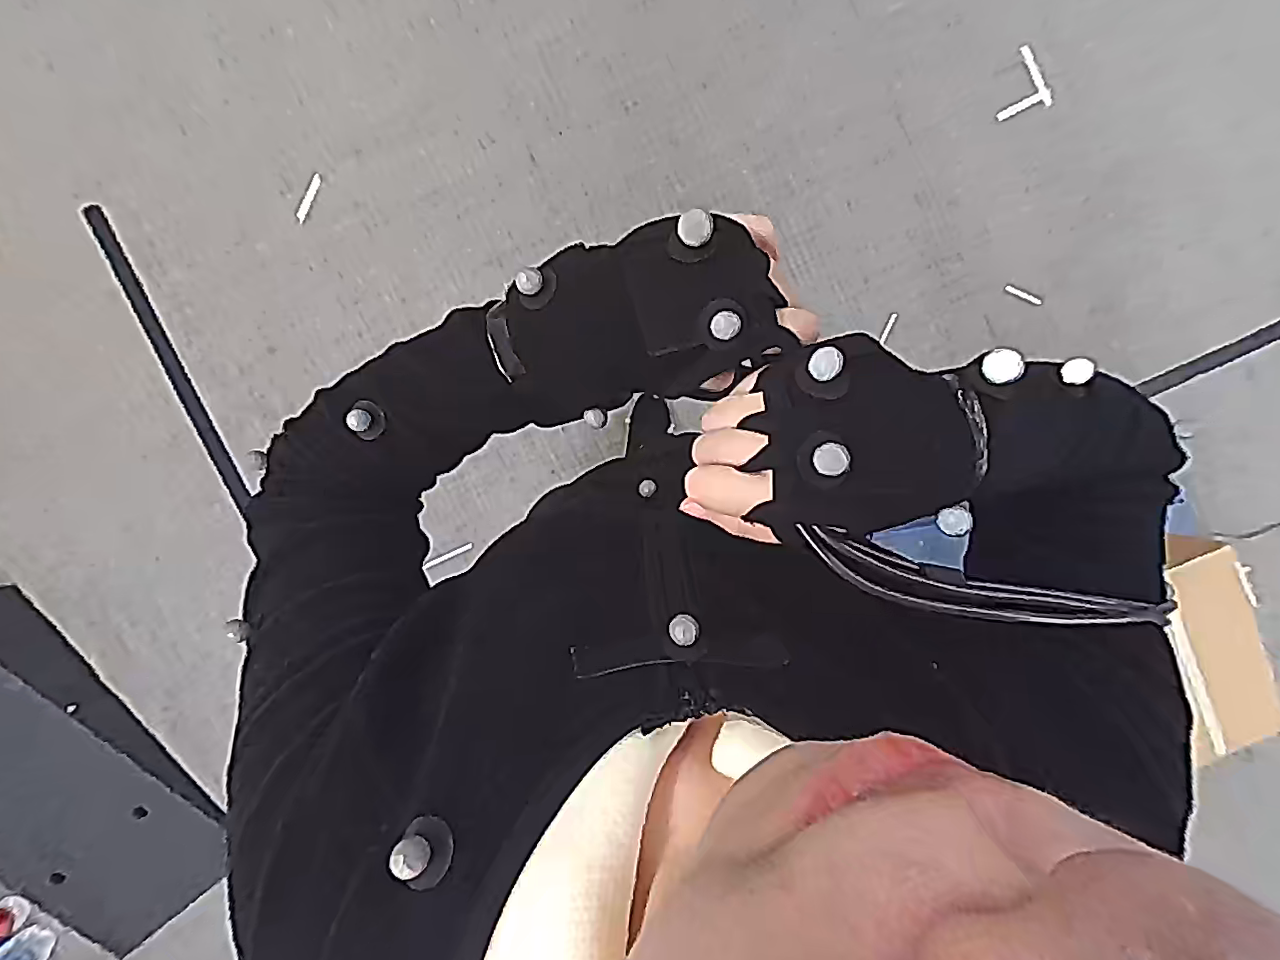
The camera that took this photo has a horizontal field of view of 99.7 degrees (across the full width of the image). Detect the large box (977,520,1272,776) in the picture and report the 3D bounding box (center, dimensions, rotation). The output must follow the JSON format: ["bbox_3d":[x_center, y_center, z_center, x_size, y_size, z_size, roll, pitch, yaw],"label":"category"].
[{"bbox_3d":[1.053,0.347,1.219,0.320,0.320,0.408,-21,95,0],"label":"large box"}]
